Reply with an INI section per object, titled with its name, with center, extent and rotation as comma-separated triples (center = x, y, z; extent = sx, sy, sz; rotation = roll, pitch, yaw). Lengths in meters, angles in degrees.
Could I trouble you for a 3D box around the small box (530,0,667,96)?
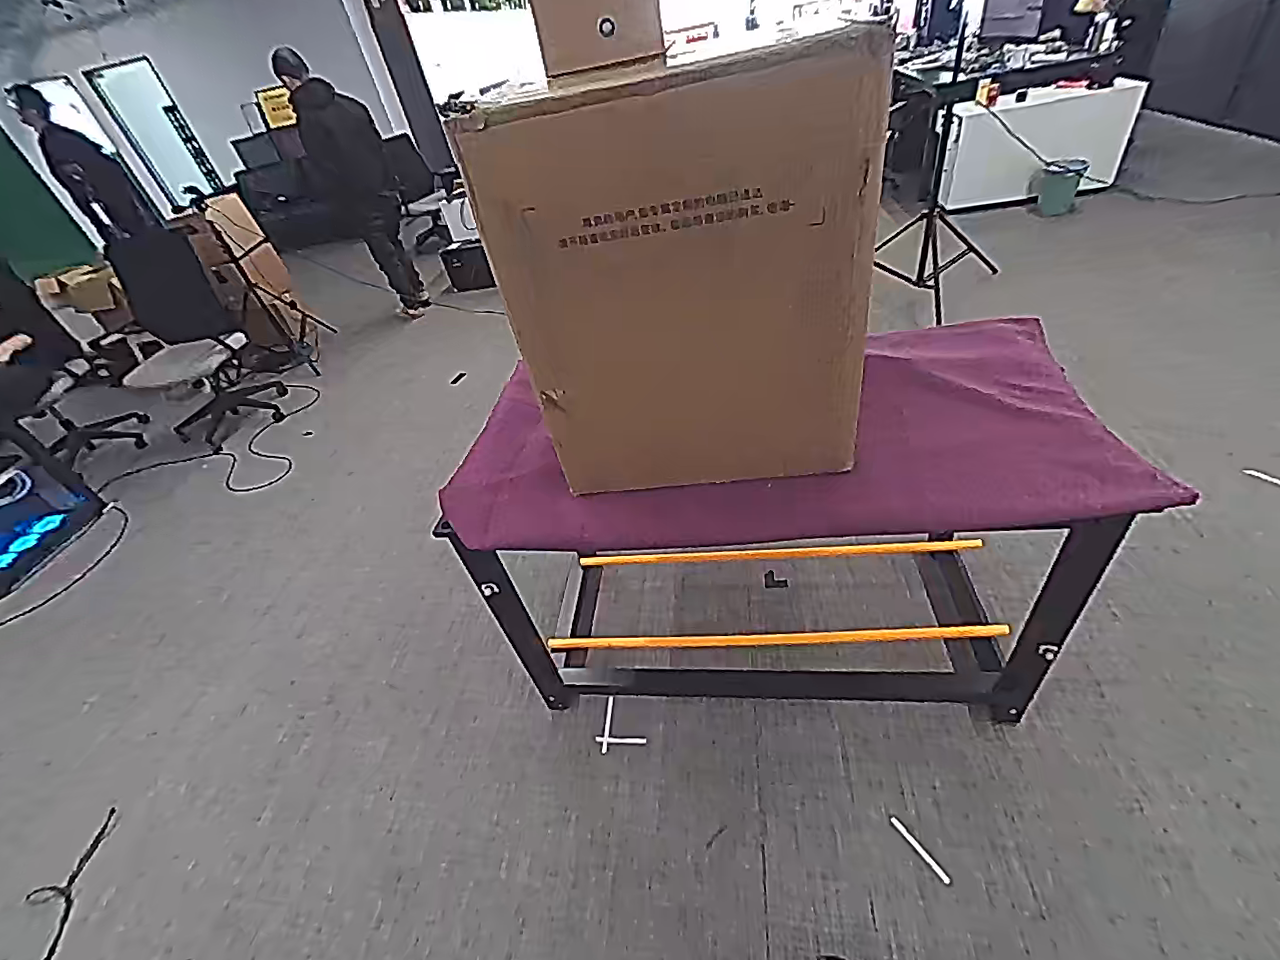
[small box]
center = -0.058, -0.685, 0.786
extent = 0.179, 0.176, 0.168
rotation = -5, 40, 7
